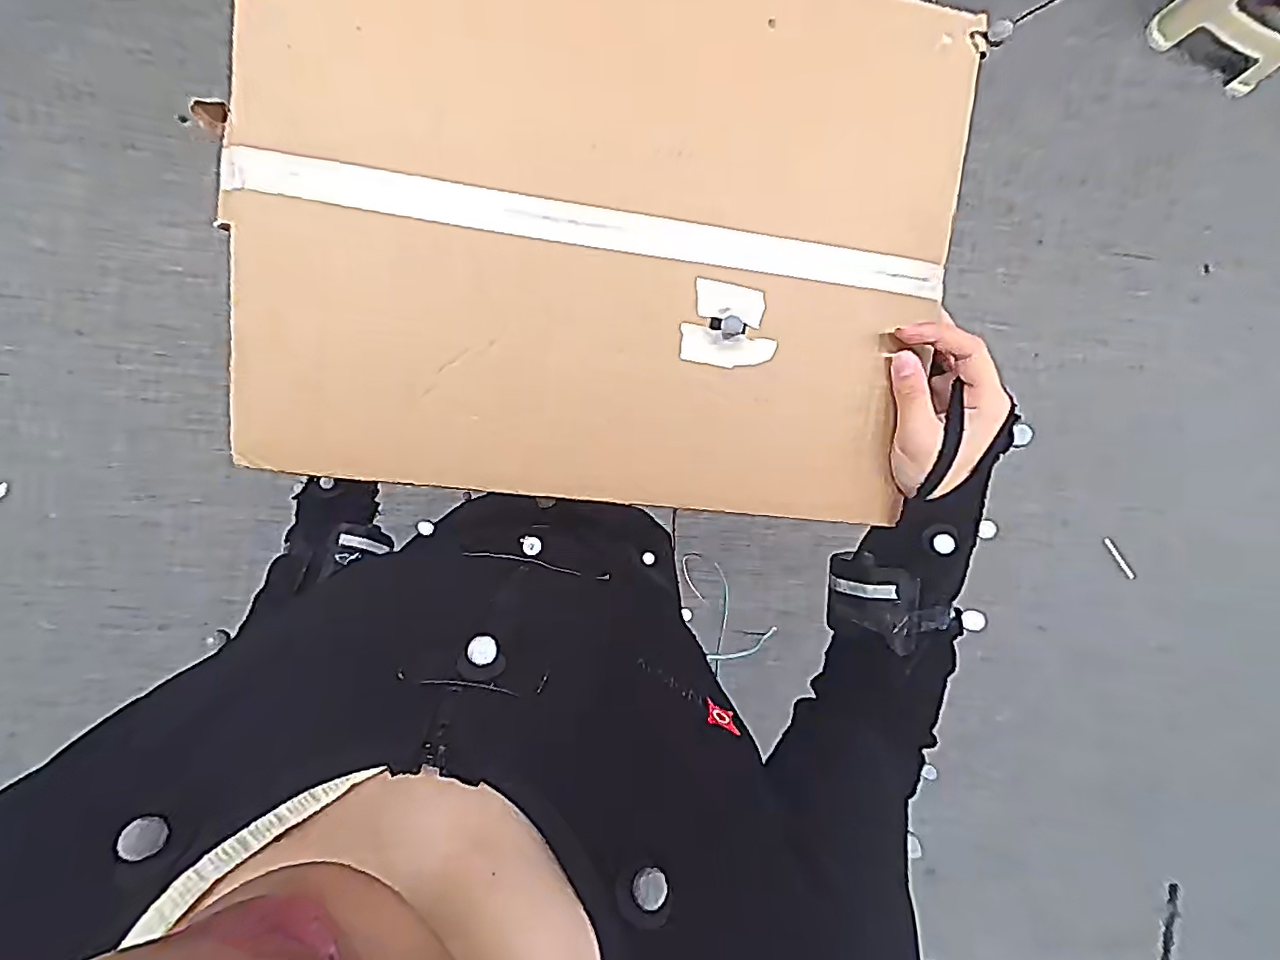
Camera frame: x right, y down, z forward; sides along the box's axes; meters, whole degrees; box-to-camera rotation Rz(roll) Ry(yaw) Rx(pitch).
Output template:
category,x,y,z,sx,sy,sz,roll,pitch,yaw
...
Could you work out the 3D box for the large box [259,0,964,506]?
category,x,y,z,sx,sy,sz,roll,pitch,yaw
large box,-0.031,-0.167,0.465,0.408,0.320,0.320,5,98,-10
